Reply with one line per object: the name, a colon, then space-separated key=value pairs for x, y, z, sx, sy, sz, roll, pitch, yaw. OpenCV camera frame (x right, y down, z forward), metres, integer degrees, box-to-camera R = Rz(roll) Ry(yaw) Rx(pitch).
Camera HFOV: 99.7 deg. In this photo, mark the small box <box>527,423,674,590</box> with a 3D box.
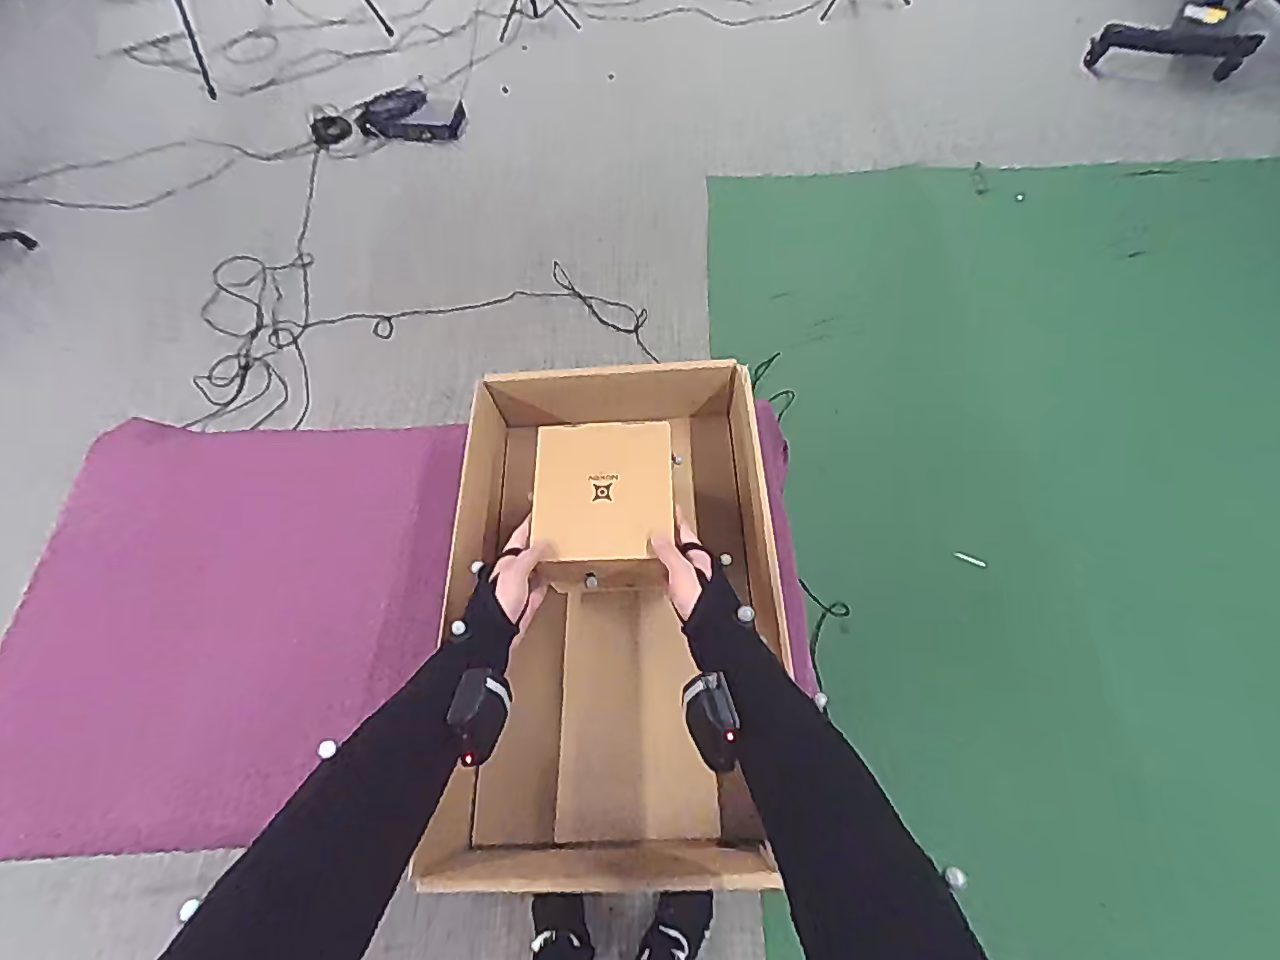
small box: x=-0.041 y=0.044 z=0.707 sx=0.168 sy=0.176 sz=0.179 roll=-3 pitch=65 yaw=3
